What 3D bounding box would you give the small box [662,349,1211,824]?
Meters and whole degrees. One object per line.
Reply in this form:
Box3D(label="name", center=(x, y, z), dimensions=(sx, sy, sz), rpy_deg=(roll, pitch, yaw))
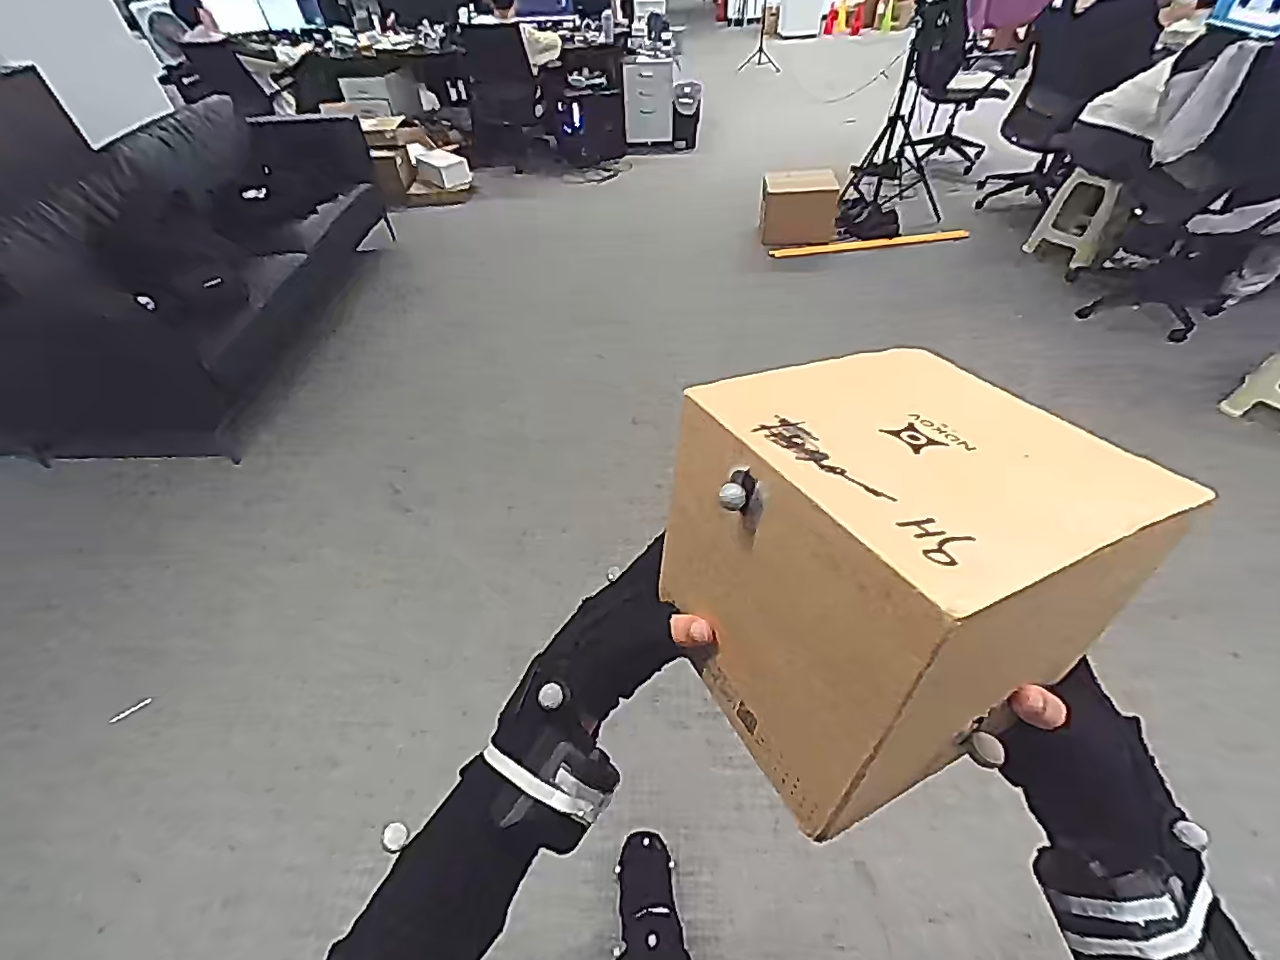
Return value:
Box3D(label="small box", center=(0.129, 0.044, 0.301), dimensions=(0.179, 0.176, 0.168), rpy_deg=(-12, 39, -24))
